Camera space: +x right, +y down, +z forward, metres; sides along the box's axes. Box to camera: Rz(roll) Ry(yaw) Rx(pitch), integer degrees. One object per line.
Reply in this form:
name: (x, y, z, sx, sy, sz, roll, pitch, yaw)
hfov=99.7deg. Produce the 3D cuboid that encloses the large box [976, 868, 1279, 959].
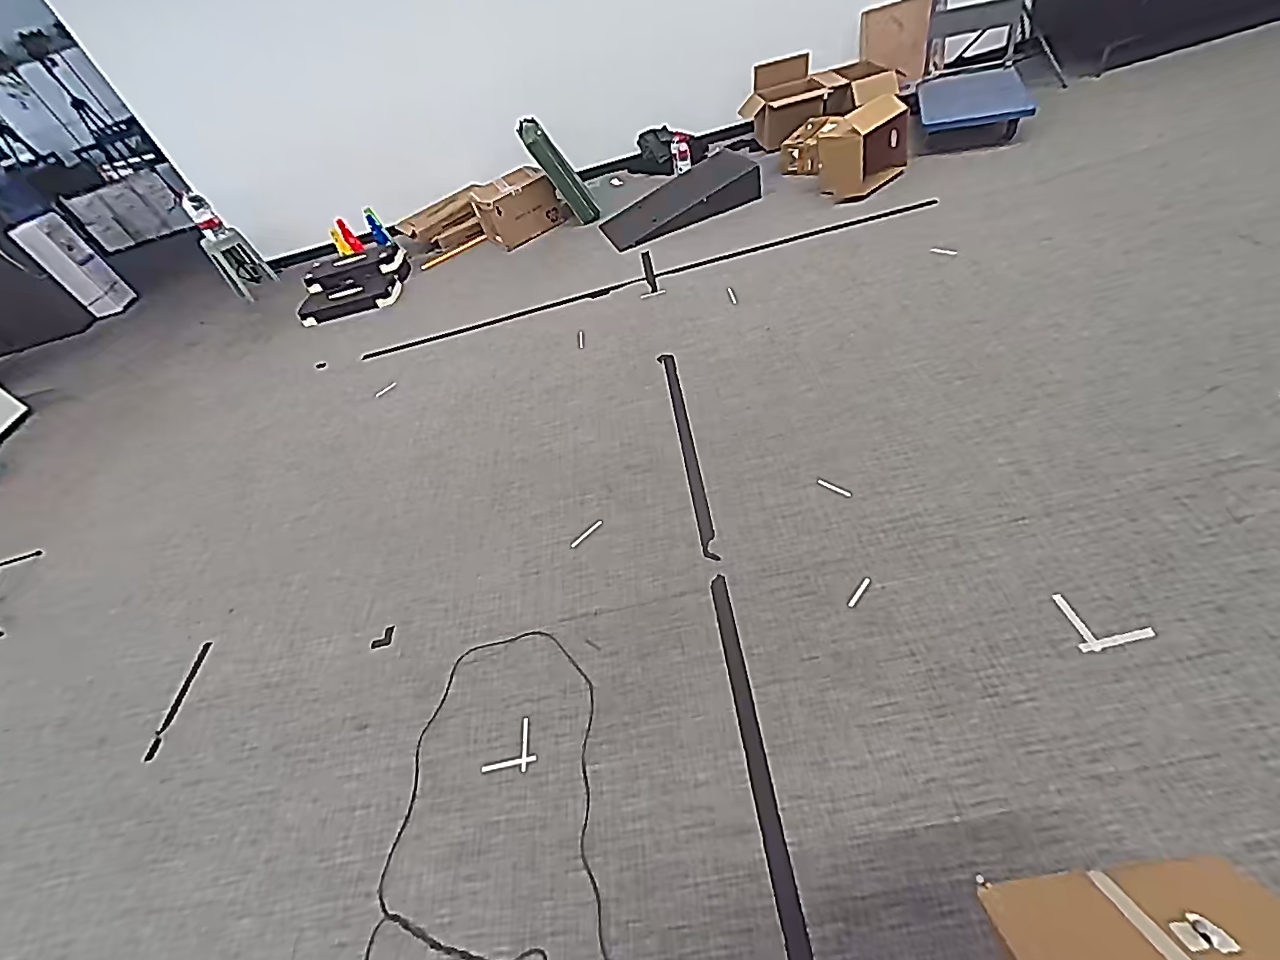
large box: (0.630, 0.691, 0.547, 0.320, 0.408, 0.320, -15, 81, 10)
